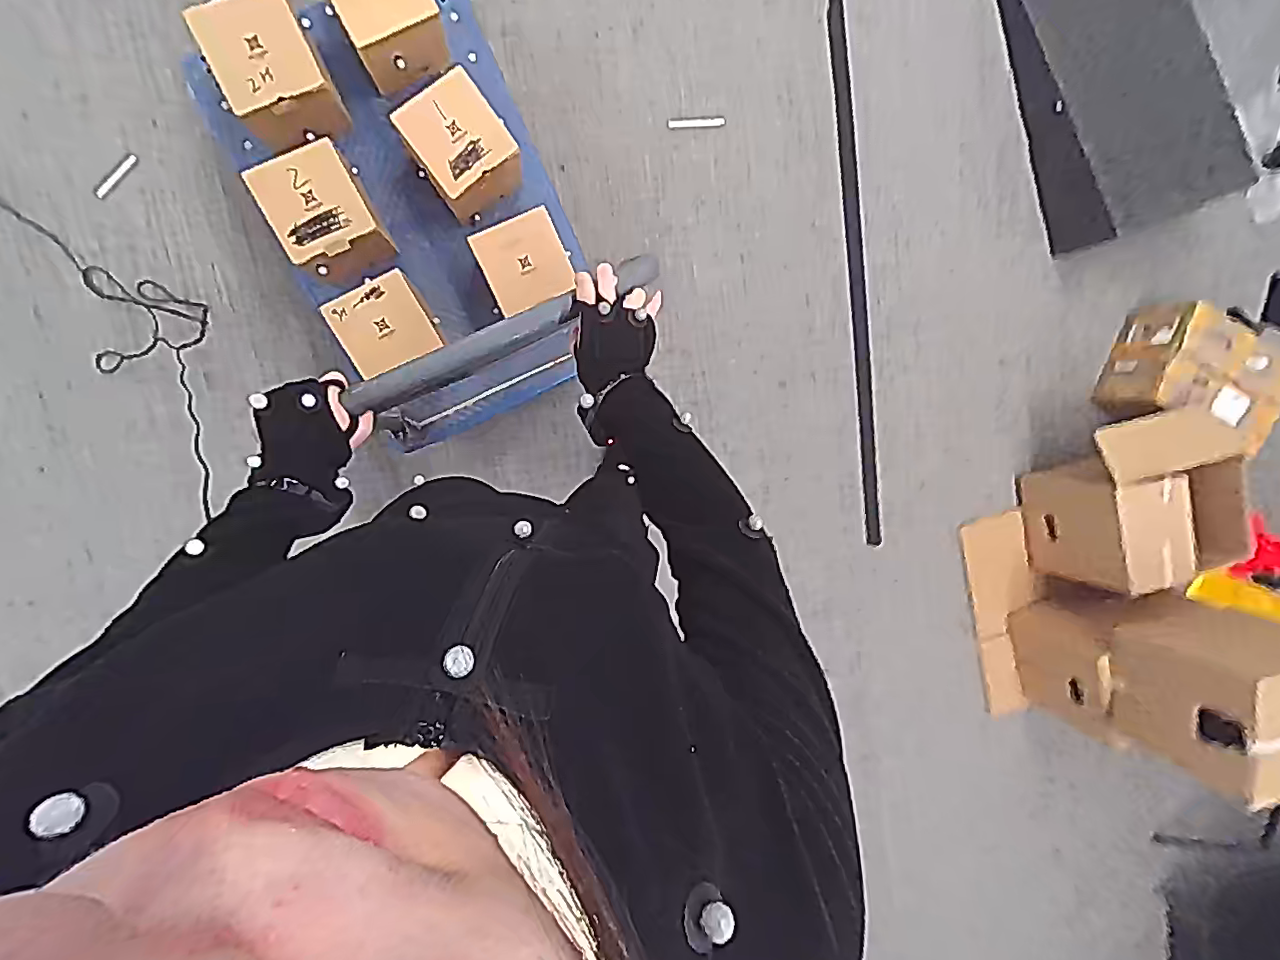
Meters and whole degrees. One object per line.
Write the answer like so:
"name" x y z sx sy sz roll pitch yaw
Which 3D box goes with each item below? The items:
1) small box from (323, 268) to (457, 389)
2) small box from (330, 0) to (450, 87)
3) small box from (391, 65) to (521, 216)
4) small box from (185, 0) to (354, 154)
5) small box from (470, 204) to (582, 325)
"small box" -0.496 -0.301 1.107 0.168 0.176 0.179 -30 102 -6
"small box" -0.484 -0.893 1.027 0.168 0.176 0.179 -30 102 -5
"small box" -0.355 -0.660 1.083 0.168 0.176 0.179 -39 102 -3
"small box" -0.675 -0.756 1.009 0.168 0.176 0.179 -25 102 -6
"small box" -0.234 -0.439 1.138 0.168 0.176 0.179 -26 101 -6
